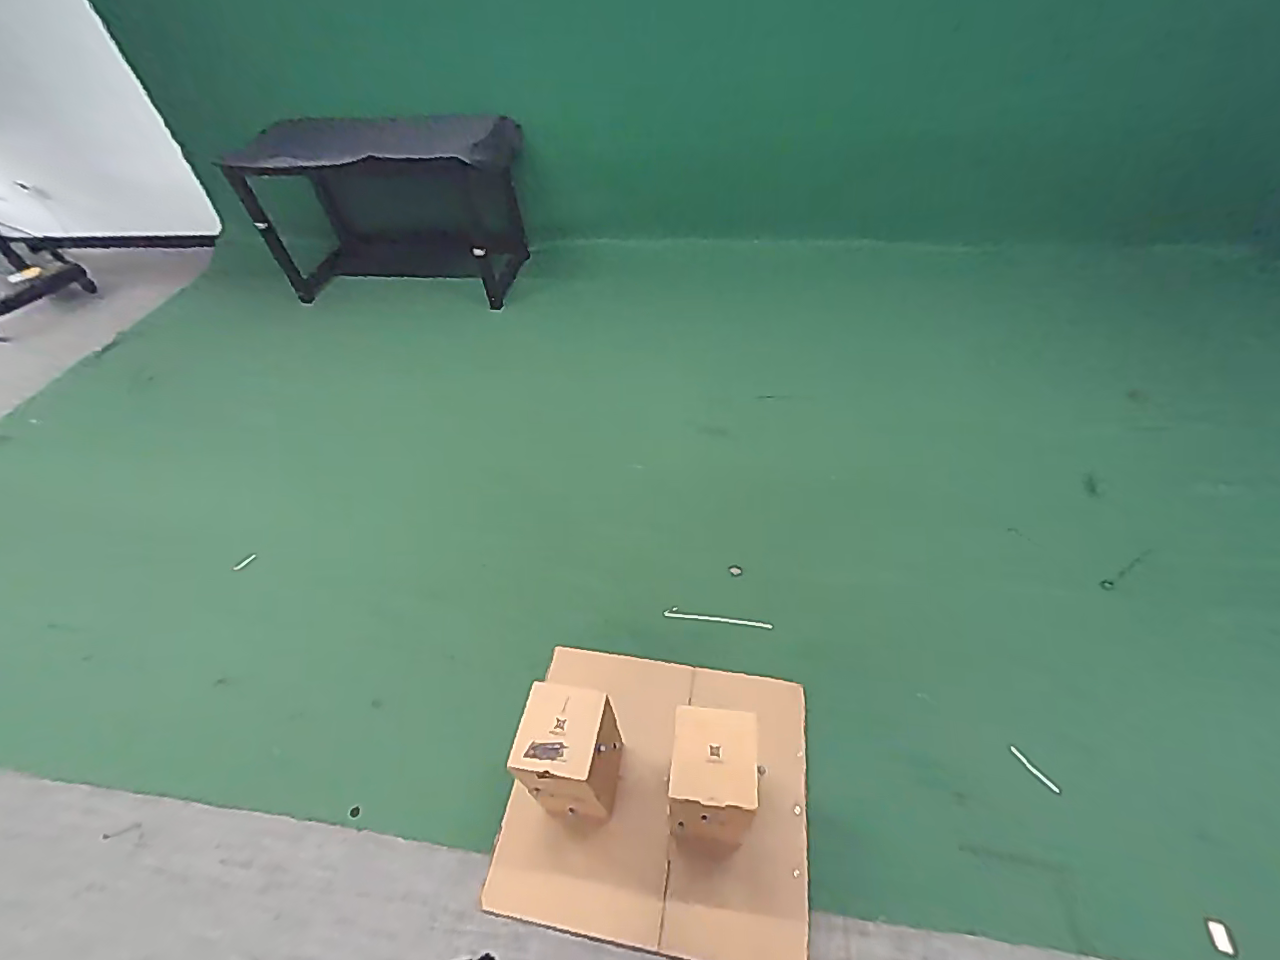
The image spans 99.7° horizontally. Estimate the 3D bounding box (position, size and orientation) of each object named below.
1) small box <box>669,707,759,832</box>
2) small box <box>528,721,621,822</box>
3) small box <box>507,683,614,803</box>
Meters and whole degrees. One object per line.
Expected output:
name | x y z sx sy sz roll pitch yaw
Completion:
small box | 0.149 0.586 1.096 0.168 0.176 0.179 3 48 8
small box | -0.143 0.671 1.264 0.168 0.176 0.179 3 48 10
small box | -0.156 0.559 1.145 0.168 0.176 0.179 5 47 11
